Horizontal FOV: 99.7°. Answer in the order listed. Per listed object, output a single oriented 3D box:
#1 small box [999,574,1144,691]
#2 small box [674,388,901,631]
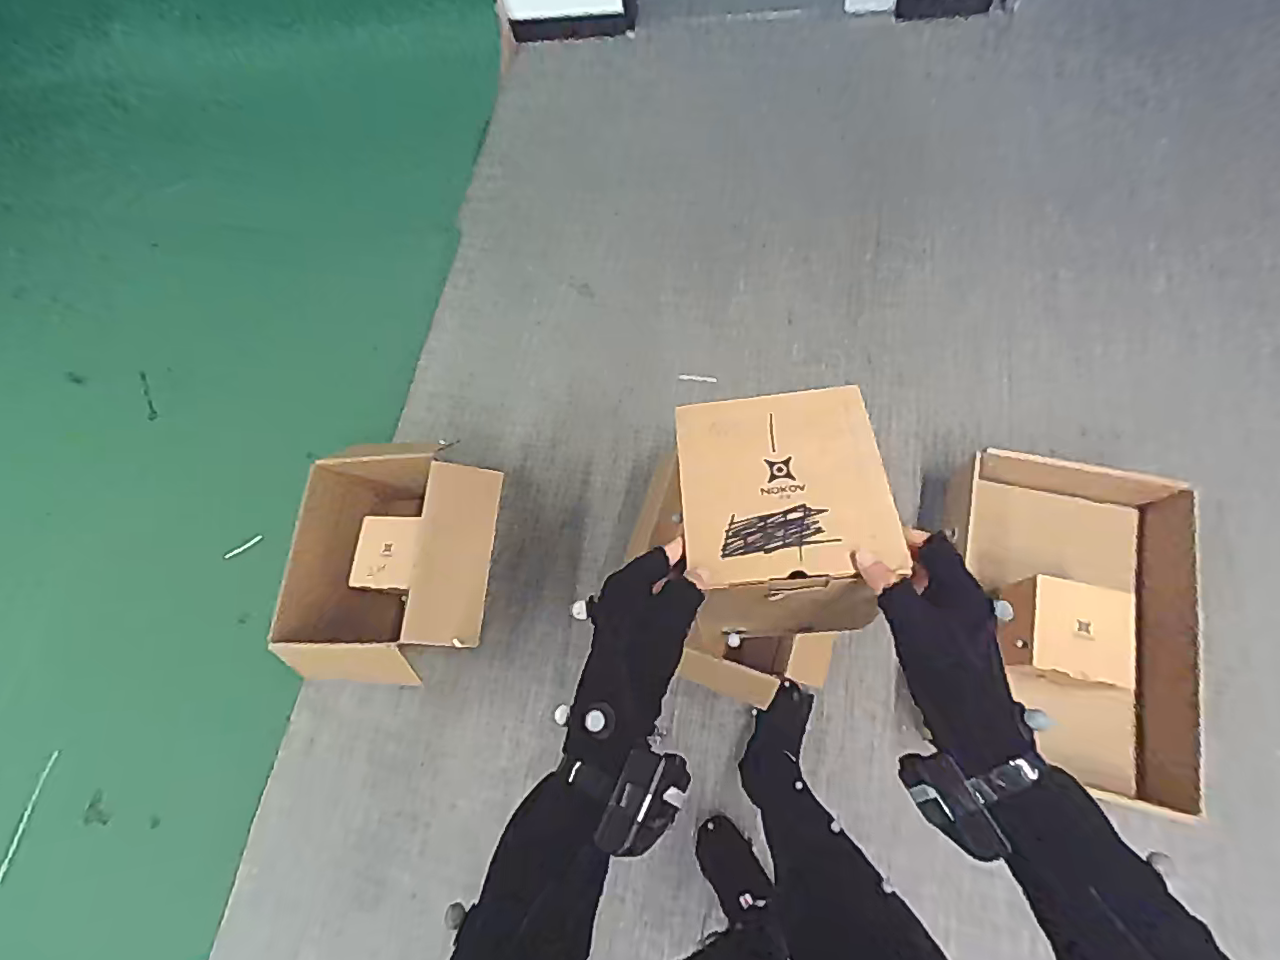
[{"bbox_3d":[0.829,0.299,1.054,0.168,0.176,0.179,11,73,13],"label":"small box"},{"bbox_3d":[0.127,0.040,0.519,0.168,0.176,0.179,-6,59,7],"label":"small box"}]
